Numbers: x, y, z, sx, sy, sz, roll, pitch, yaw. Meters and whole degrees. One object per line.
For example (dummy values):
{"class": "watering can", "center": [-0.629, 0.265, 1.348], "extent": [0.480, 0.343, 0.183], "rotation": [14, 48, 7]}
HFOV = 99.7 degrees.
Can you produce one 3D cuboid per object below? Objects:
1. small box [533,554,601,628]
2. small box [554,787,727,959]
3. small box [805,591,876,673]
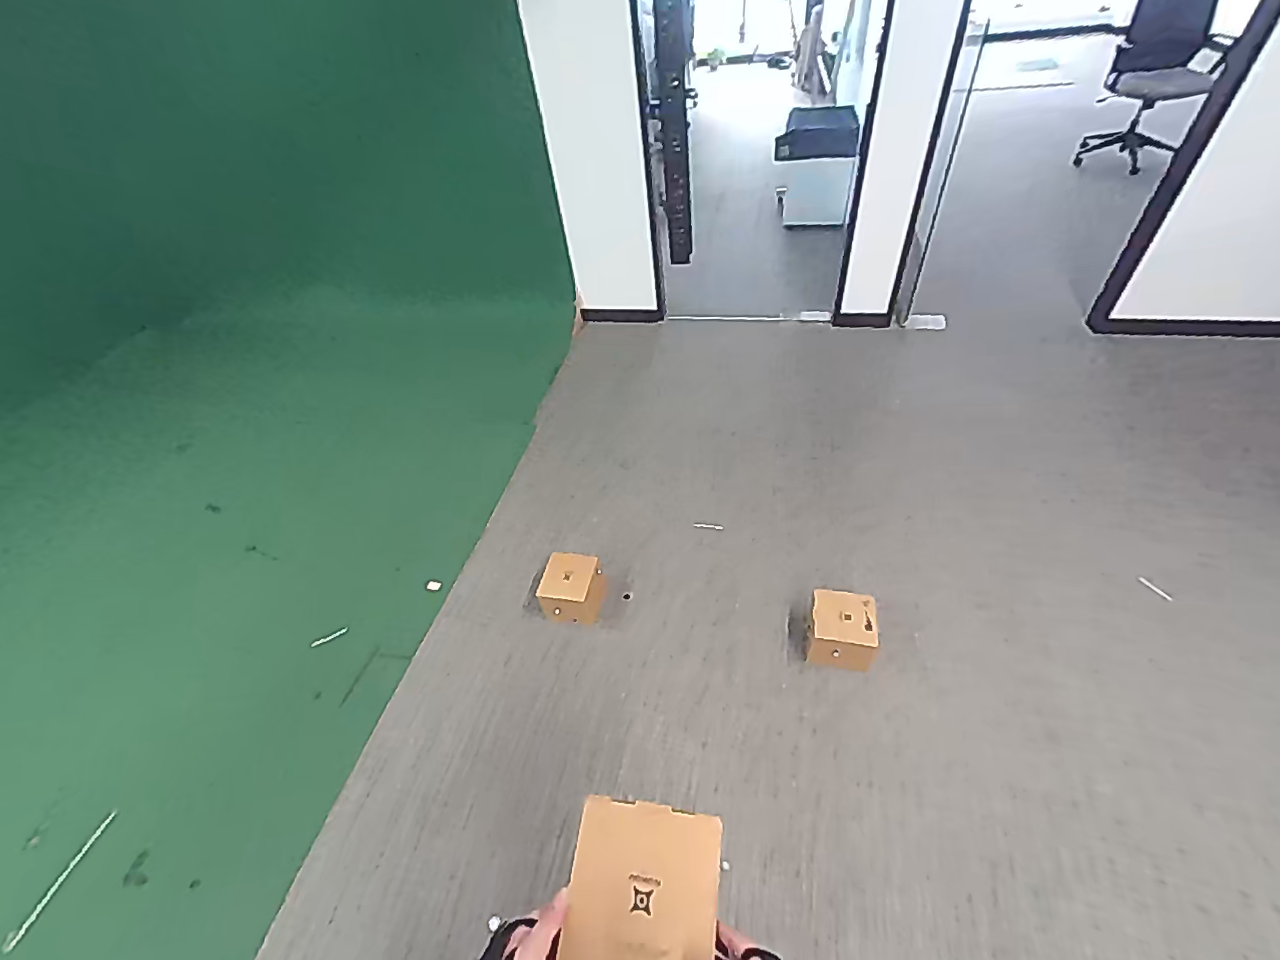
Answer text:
{"class": "small box", "center": [-0.235, 0.371, 1.802], "extent": [0.168, 0.176, 0.179], "rotation": [4, 46, 12]}
{"class": "small box", "center": [0.008, 0.490, 0.642], "extent": [0.168, 0.176, 0.179], "rotation": [6, 53, 8]}
{"class": "small box", "center": [0.590, 0.454, 1.609], "extent": [0.179, 0.176, 0.168], "rotation": [5, 47, 13]}
